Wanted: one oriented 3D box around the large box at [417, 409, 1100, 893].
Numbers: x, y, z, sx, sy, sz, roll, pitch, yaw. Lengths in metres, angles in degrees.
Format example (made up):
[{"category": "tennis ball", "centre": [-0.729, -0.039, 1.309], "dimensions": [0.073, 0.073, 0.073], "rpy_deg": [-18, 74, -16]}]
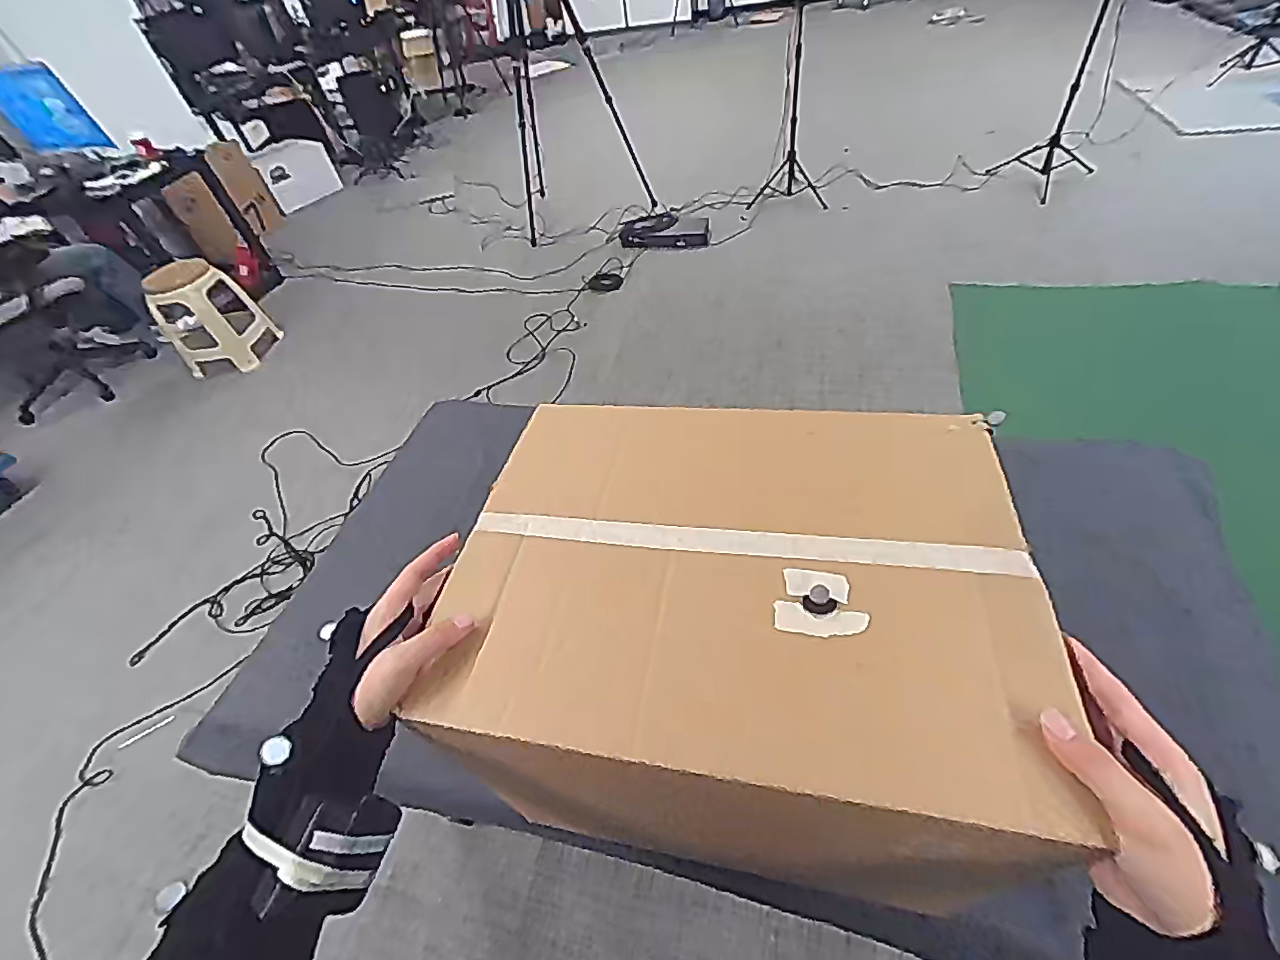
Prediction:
[{"category": "large box", "centre": [0.087, 0.151, 0.520], "dimensions": [0.408, 0.320, 0.320], "rpy_deg": [4, 49, 13]}]
